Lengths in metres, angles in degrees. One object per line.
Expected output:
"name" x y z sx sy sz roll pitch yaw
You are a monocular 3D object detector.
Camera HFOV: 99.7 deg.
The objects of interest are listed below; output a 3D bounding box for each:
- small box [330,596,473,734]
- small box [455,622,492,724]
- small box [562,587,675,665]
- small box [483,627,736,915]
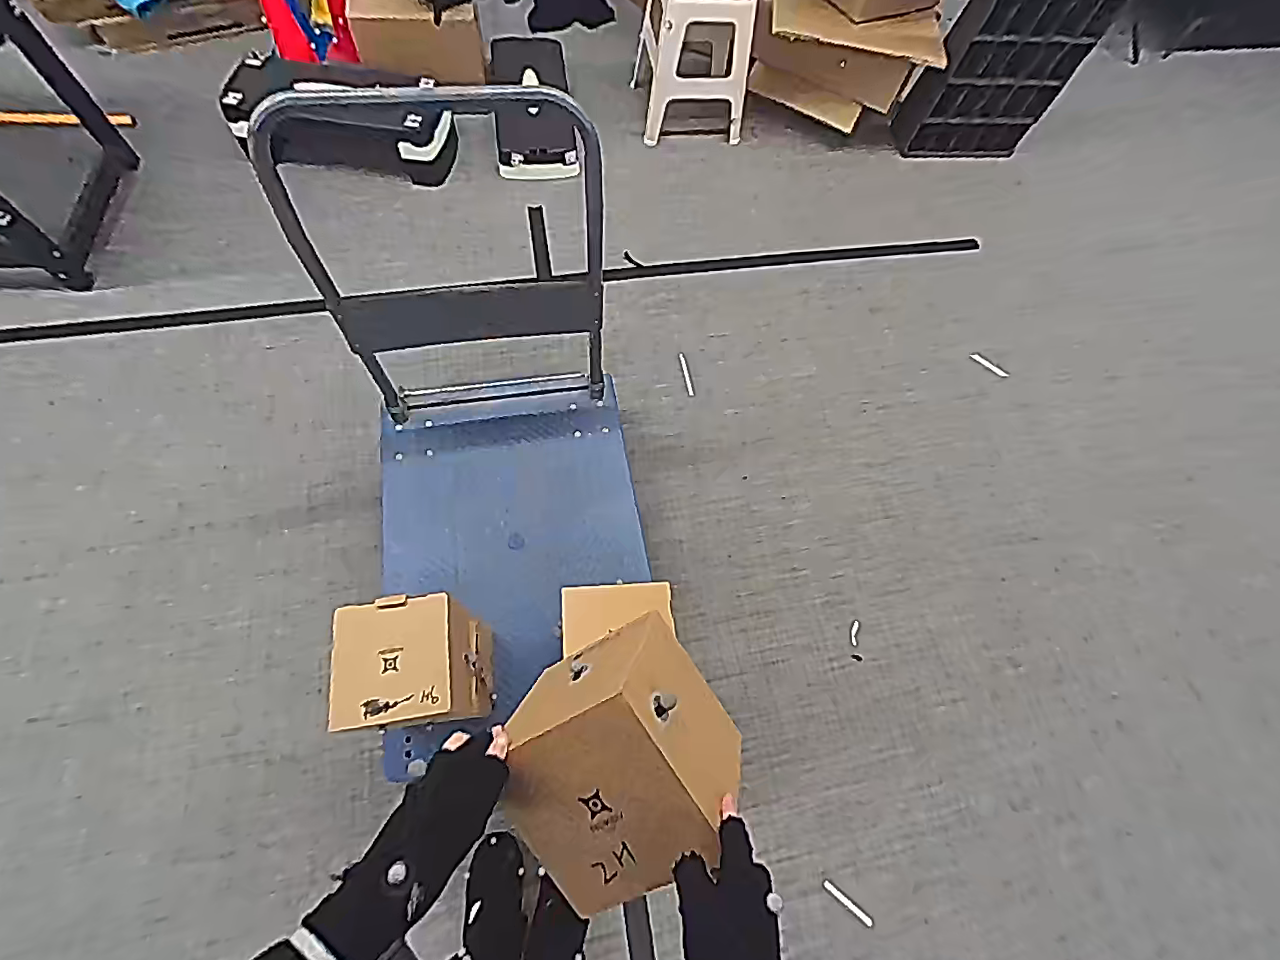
"small box" -0.366 0.298 0.860 0.168 0.176 0.179 -6 66 -8
"small box" -0.376 0.366 1.010 0.179 0.176 0.168 -4 66 -6
"small box" -0.038 0.282 0.903 0.179 0.176 0.168 -2 66 -7
"small box" -0.017 0.273 0.549 0.168 0.176 0.179 -32 92 16
